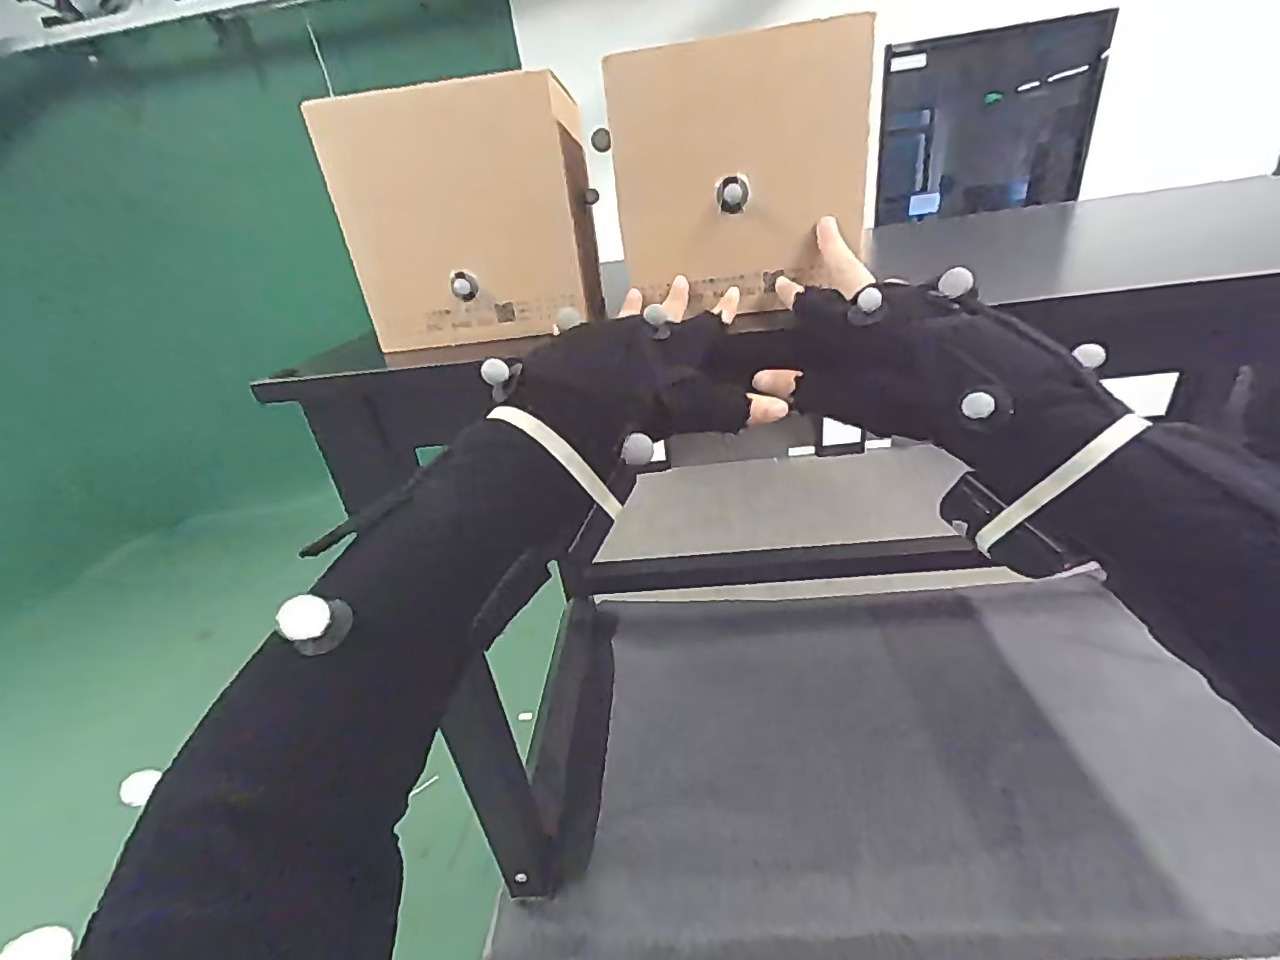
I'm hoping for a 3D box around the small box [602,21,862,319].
[{"bbox_3d":[0.072,-0.233,0.443,0.168,0.176,0.179,-4,27,6],"label":"small box"}]
